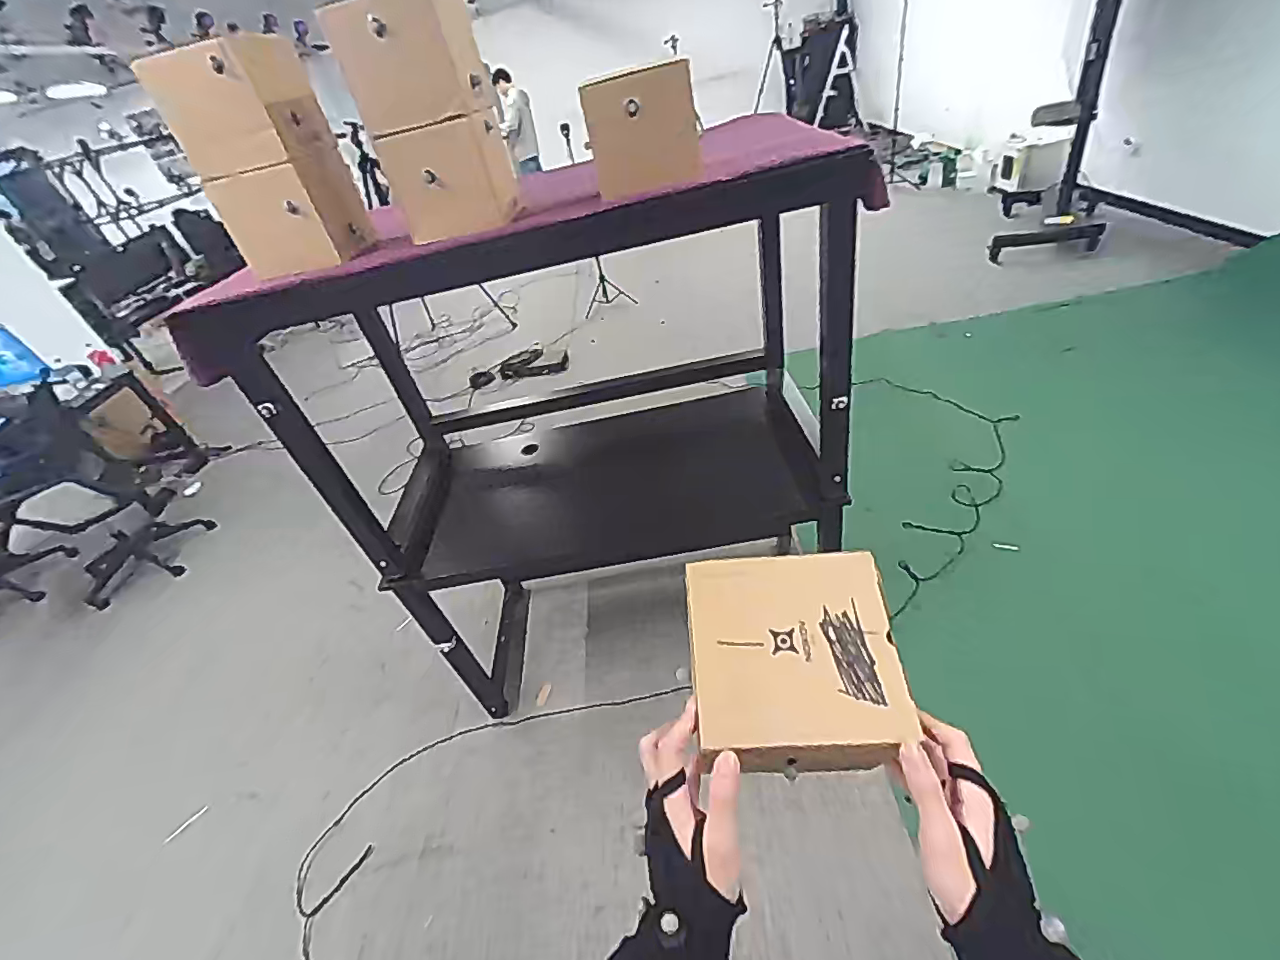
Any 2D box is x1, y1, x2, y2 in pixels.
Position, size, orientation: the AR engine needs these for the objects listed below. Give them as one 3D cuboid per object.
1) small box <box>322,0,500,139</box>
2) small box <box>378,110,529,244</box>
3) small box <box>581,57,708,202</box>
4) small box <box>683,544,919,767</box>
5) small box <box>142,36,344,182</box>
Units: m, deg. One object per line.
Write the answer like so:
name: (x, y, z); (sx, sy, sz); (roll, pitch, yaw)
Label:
small box: (-0.351, -0.666, 0.867); (0.179, 0.176, 0.168); (-7, 38, 9)
small box: (-0.319, -0.538, 0.965); (0.179, 0.176, 0.168); (-9, 37, 9)
small box: (0.010, -0.593, 0.919); (0.179, 0.176, 0.168); (-11, 39, 6)
small box: (0.134, 0.176, 0.525); (0.179, 0.176, 0.168); (-4, 55, 4)
small box: (-0.650, -0.620, 0.912); (0.179, 0.176, 0.168); (-7, 37, 8)
